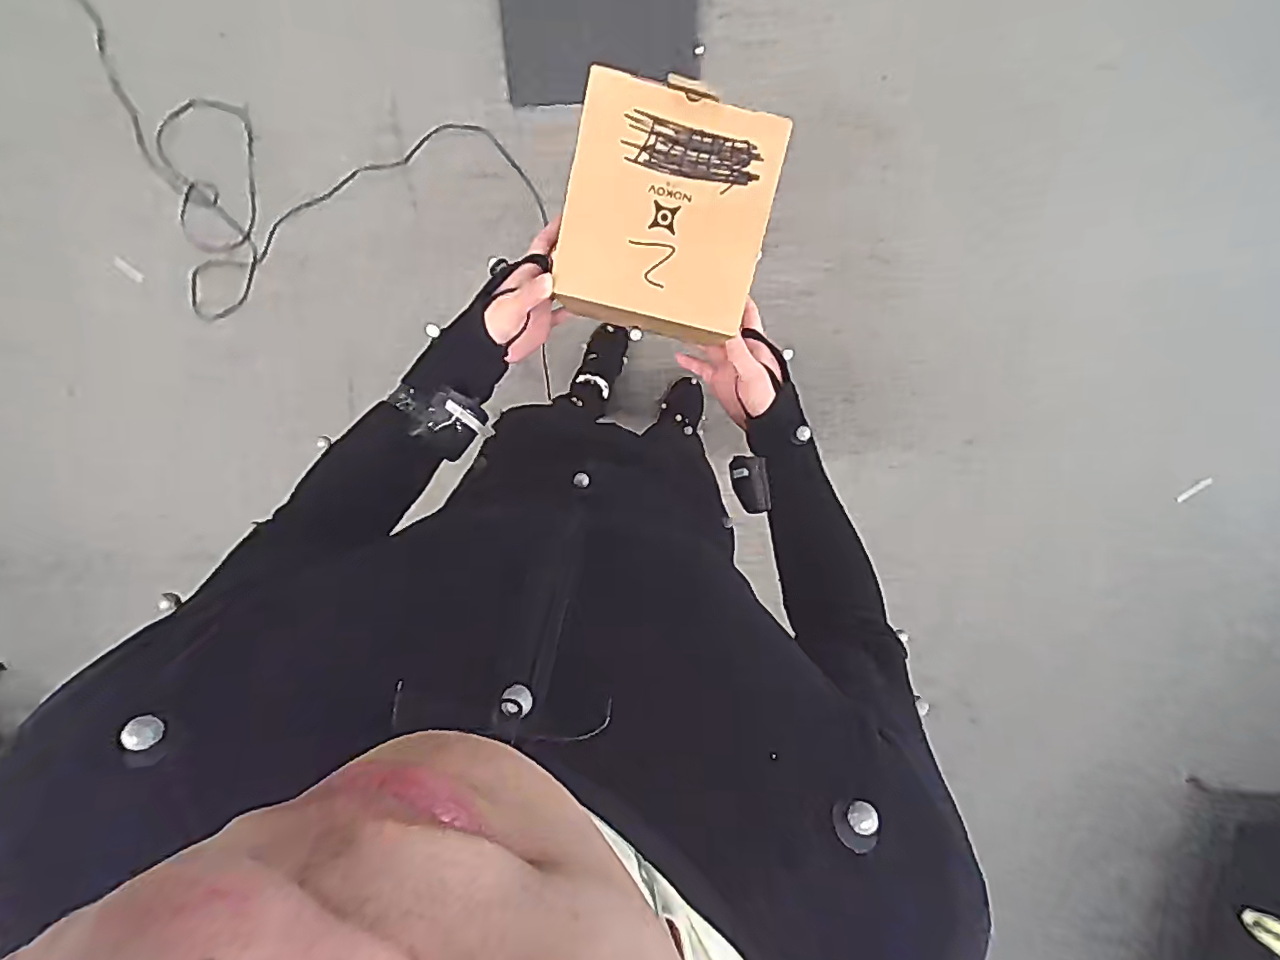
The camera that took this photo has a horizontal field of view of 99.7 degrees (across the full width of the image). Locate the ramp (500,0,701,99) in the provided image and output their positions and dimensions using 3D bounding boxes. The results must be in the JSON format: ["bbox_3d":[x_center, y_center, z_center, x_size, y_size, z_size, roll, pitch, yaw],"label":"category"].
[{"bbox_3d":[-0.107,-1.442,1.176,0.509,0.206,0.991,-2,105,4],"label":"ramp"}]
